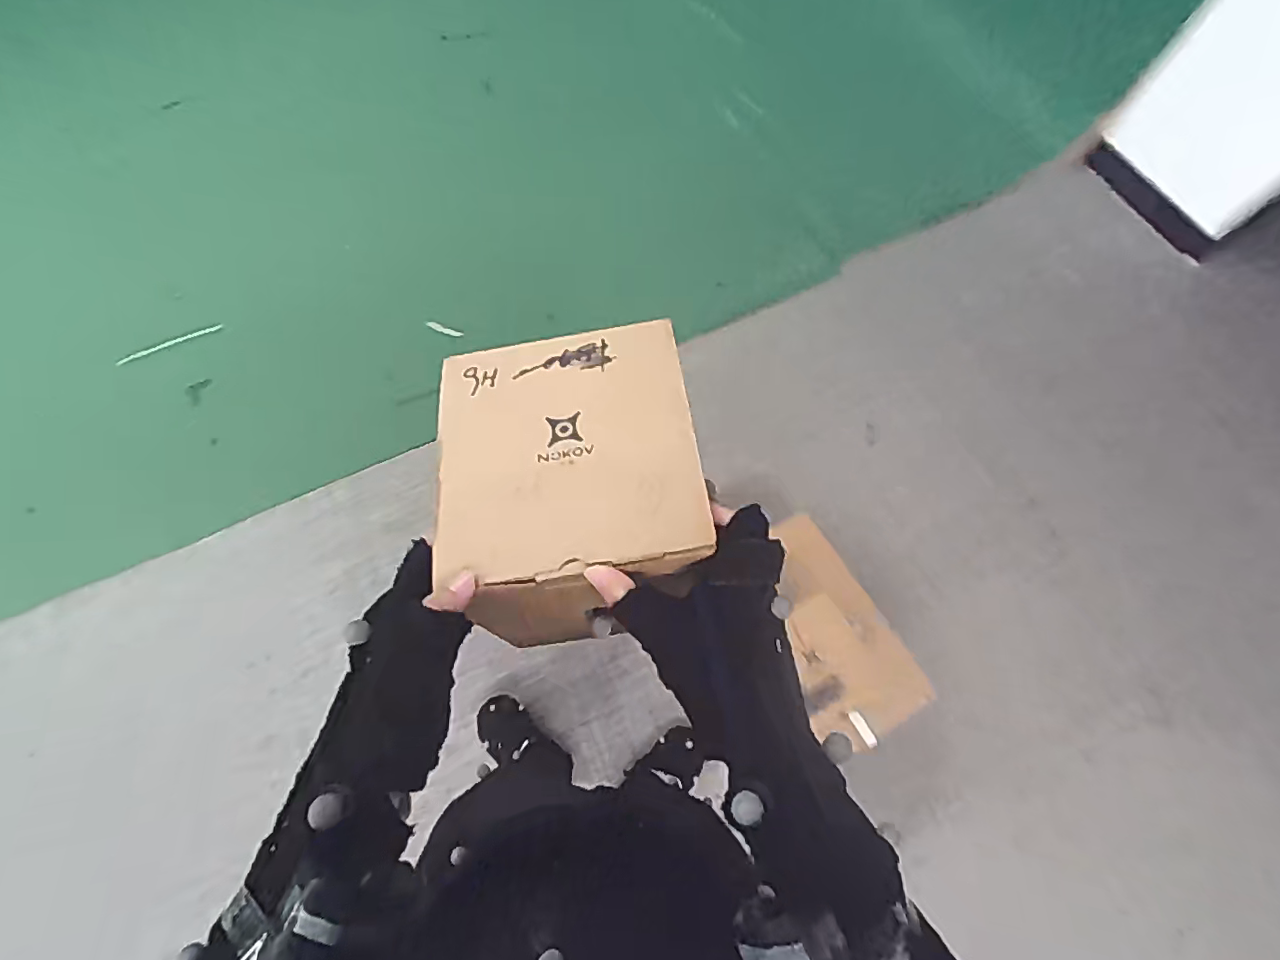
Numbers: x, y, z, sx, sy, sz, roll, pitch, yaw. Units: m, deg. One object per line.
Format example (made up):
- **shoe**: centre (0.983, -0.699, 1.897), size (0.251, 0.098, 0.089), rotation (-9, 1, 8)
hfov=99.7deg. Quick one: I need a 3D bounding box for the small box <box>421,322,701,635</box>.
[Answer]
- **small box**: centre (-0.048, 0.014, 0.414), size (0.168, 0.176, 0.179), rotation (-10, 64, 2)
